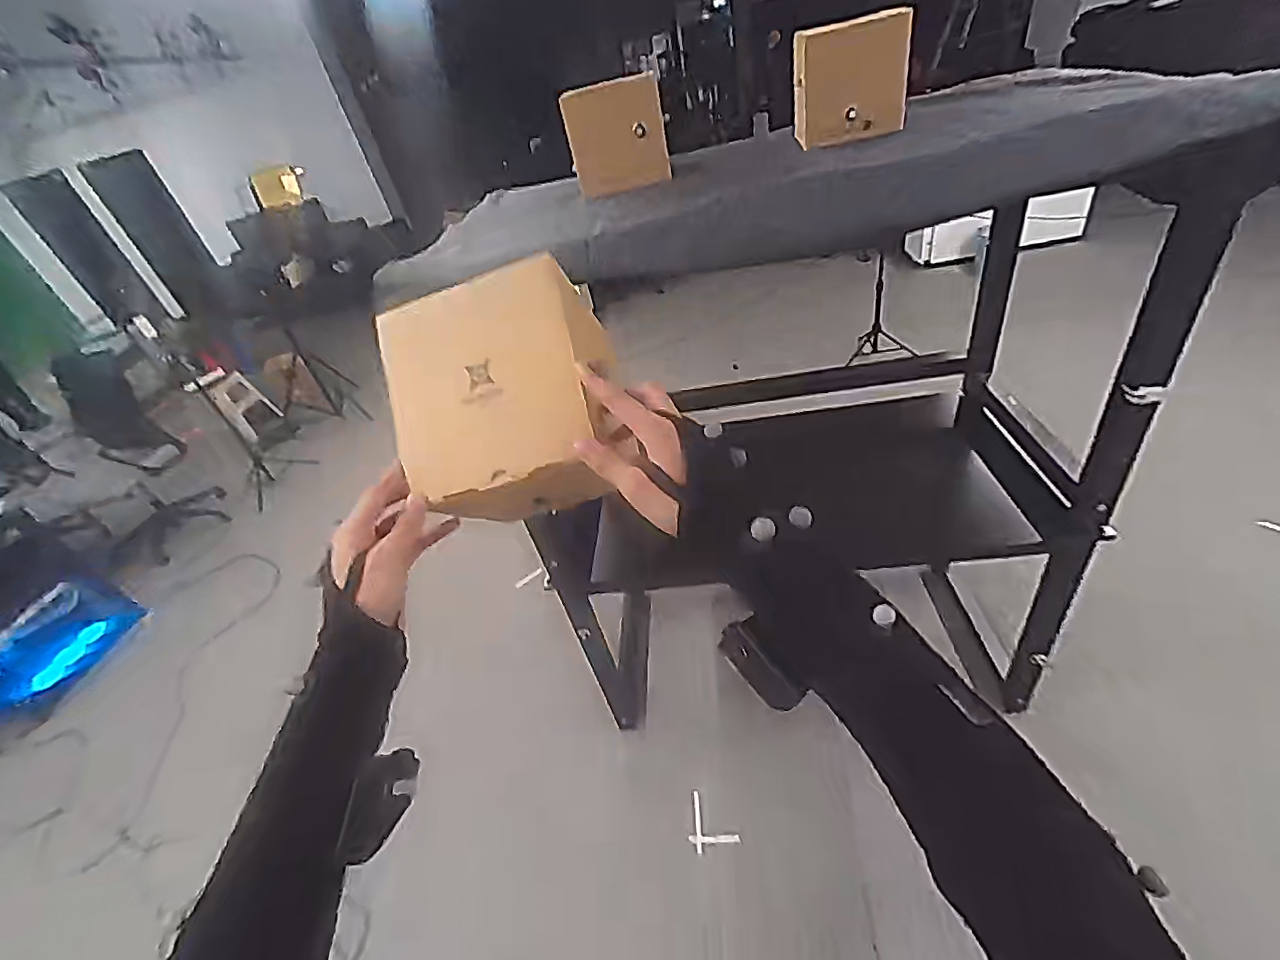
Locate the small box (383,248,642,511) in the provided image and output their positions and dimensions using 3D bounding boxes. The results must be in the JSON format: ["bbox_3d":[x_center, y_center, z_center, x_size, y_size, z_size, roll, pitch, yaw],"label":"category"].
[{"bbox_3d":[-0.107,-0.077,0.515,0.168,0.176,0.179,-16,81,10],"label":"small box"}]

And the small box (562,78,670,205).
[{"bbox_3d":[-0.037,-0.654,1.046,0.179,0.176,0.168,-9,37,7],"label":"small box"}]
